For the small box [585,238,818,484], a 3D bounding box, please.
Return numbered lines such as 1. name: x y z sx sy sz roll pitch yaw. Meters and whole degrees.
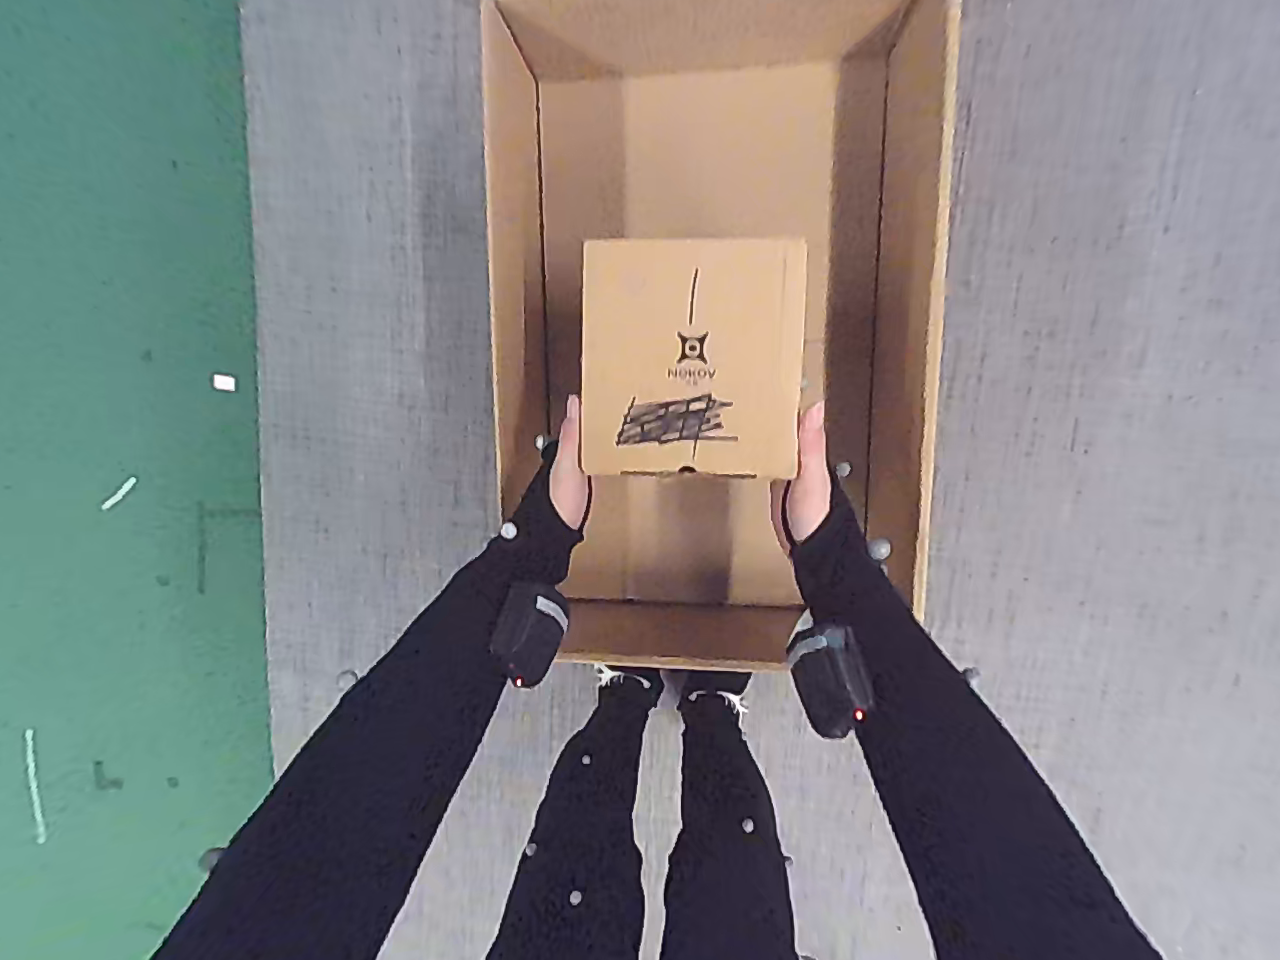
1. small box: 0.049 -0.093 0.472 0.168 0.176 0.179 1 94 4
